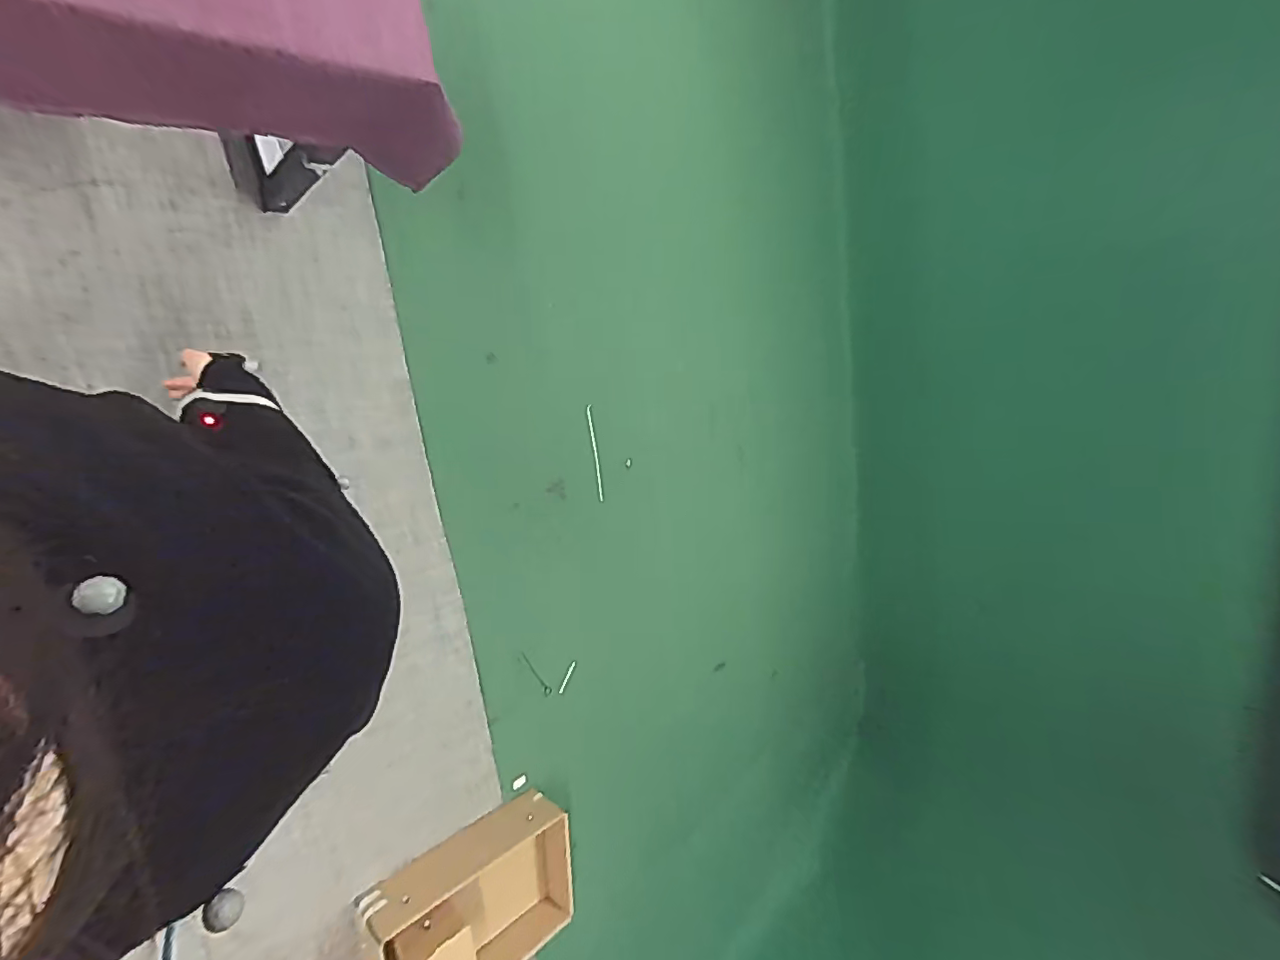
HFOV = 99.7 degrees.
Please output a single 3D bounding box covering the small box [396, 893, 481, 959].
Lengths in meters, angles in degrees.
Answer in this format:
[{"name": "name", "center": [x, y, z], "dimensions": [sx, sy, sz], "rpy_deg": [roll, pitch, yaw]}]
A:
[{"name": "small box", "center": [-0.575, 1.329, 1.538], "dimensions": [0.168, 0.176, 0.179], "rpy_deg": [-14, 102, -45]}]
